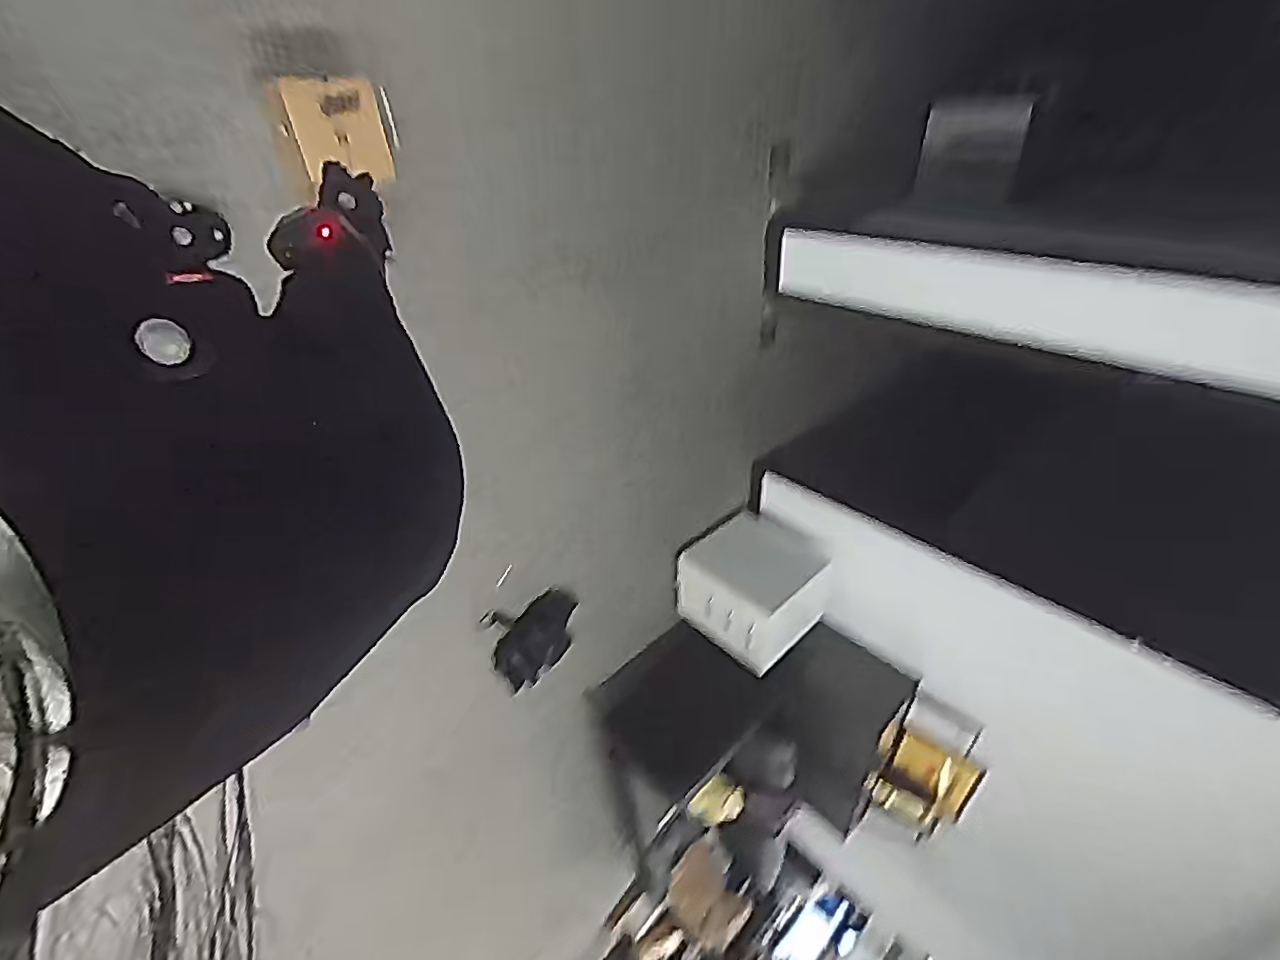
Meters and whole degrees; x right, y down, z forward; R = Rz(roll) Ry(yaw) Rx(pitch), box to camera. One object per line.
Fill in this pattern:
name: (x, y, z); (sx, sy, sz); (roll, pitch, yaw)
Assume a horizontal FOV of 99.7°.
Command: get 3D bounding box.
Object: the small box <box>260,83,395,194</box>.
small box: (-0.625, -0.680, 1.082); (0.168, 0.176, 0.179); (-28, 132, -33)
